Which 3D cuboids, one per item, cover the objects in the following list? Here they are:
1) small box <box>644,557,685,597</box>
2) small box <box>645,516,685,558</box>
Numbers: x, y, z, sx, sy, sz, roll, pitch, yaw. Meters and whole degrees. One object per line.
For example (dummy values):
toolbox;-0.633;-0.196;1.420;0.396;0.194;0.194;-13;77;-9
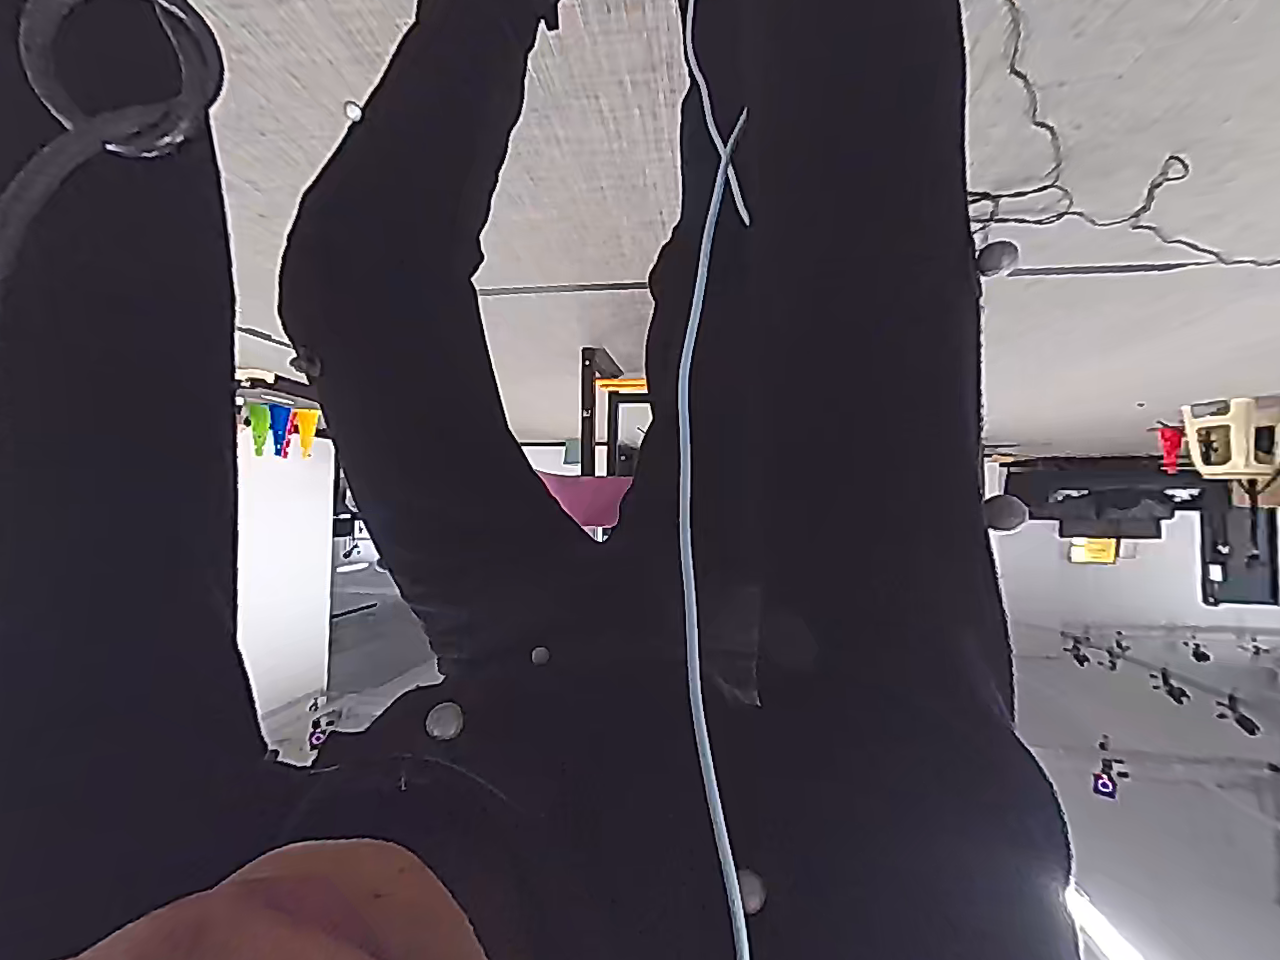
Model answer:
small box;0.110;0.410;2.372;0.168;0.176;0.179;0;178;7
small box;0.111;0.246;2.366;0.168;0.176;0.179;1;179;7
